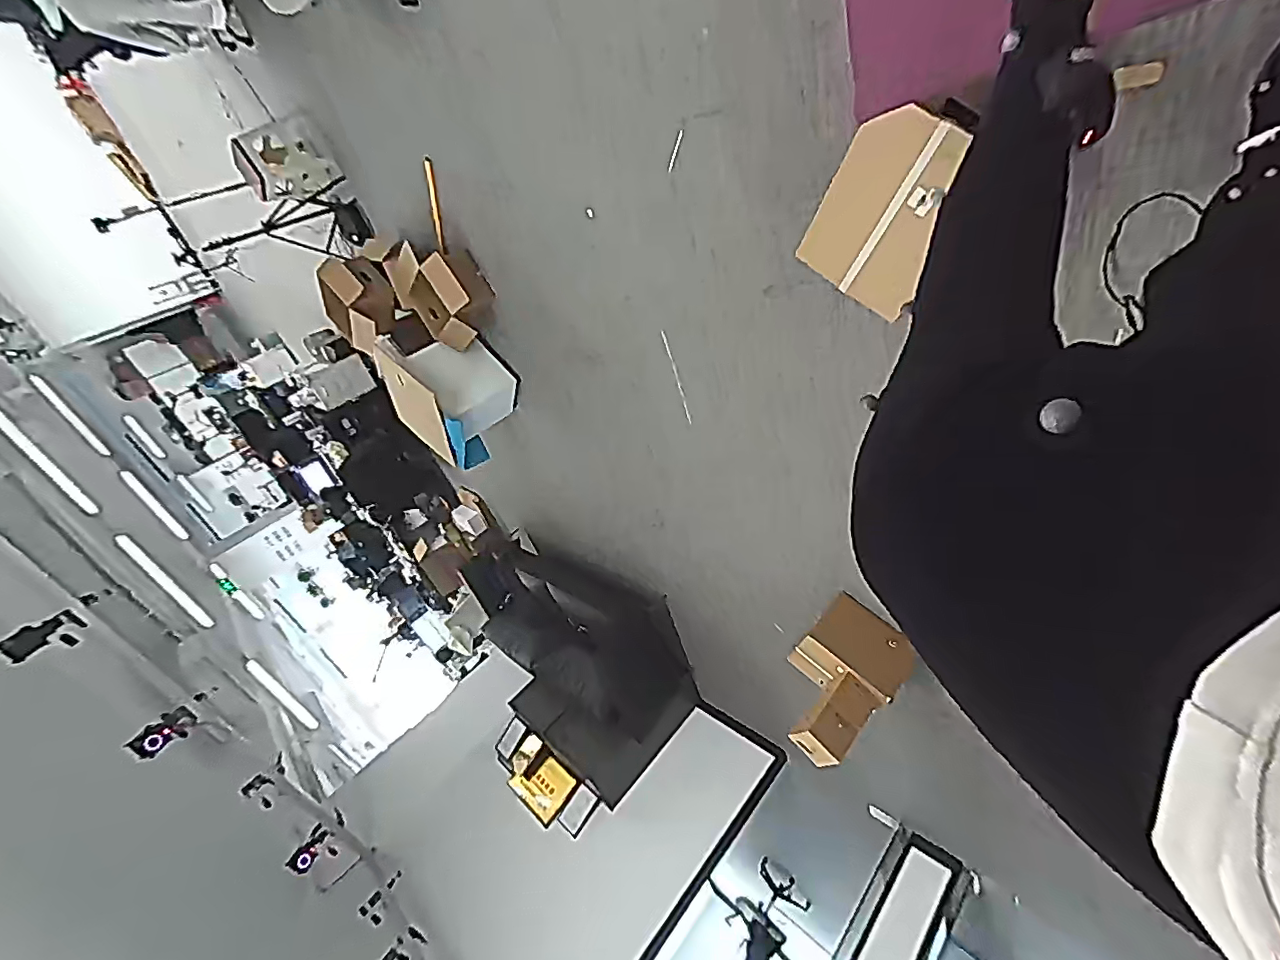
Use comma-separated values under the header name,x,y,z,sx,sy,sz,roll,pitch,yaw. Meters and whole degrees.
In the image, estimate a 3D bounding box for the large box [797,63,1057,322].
name,x,y,z,sx,sy,sz,roll,pitch,yaw
large box,0.650,-0.667,1.276,0.320,0.320,0.408,42,148,13

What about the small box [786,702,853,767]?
name,x,y,z,sx,sy,sz,roll,pitch,yaw
small box,0.740,1.045,2.220,0.168,0.176,0.179,44,148,12
